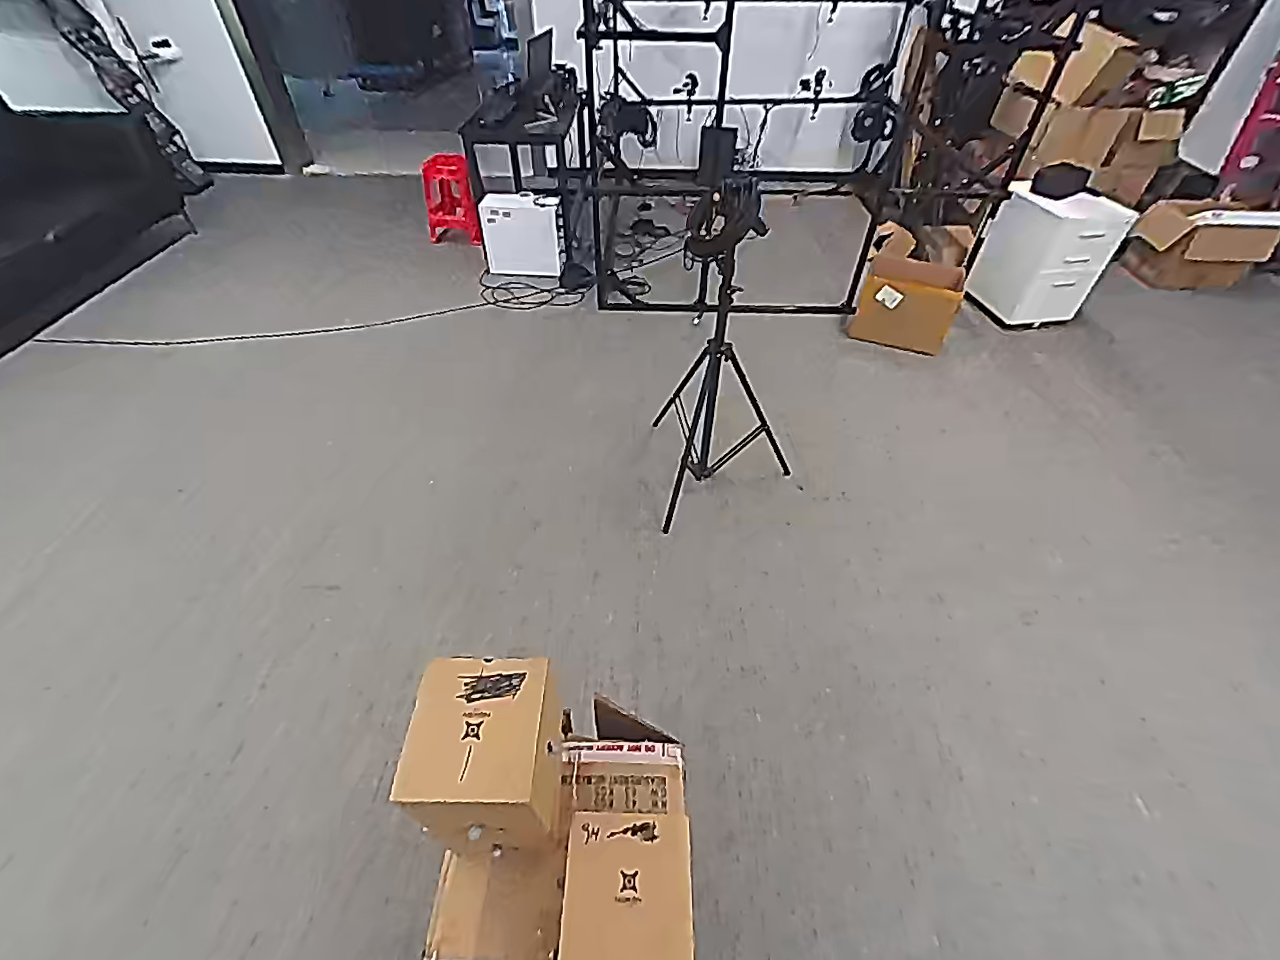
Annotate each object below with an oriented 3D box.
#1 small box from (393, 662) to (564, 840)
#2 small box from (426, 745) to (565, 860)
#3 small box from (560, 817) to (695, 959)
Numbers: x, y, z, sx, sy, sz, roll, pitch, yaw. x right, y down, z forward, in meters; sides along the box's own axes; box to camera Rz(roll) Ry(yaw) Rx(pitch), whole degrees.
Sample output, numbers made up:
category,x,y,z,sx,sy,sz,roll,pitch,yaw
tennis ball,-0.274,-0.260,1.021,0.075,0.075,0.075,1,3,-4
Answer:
category,x,y,z,sx,sy,sz,roll,pitch,yaw
small box,-0.199,0.364,0.728,0.168,0.176,0.179,-1,47,1
small box,-0.212,0.474,0.850,0.168,0.176,0.179,-3,47,-1
small box,-0.014,0.584,0.745,0.168,0.176,0.179,2,47,-1
